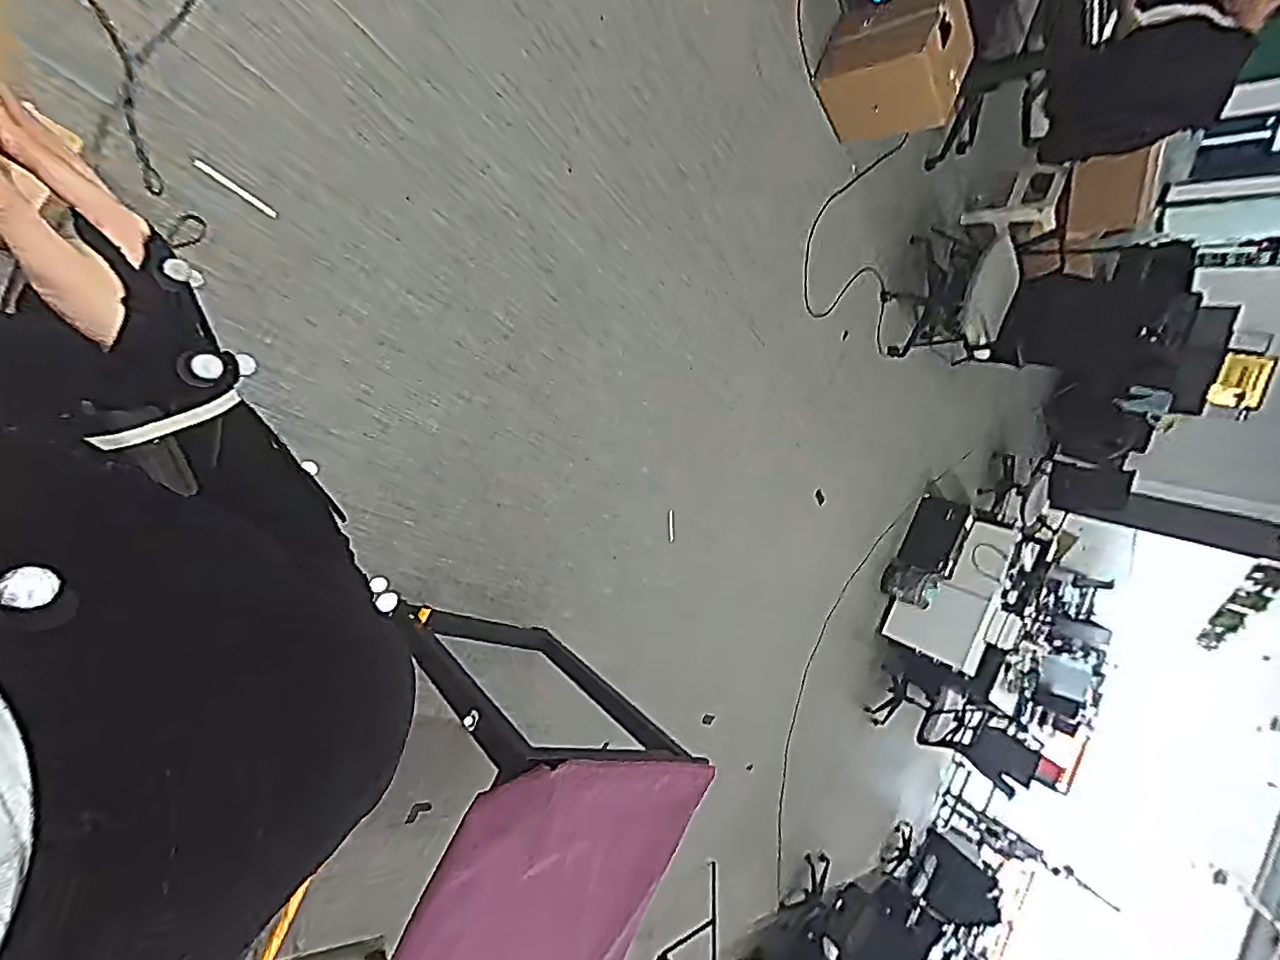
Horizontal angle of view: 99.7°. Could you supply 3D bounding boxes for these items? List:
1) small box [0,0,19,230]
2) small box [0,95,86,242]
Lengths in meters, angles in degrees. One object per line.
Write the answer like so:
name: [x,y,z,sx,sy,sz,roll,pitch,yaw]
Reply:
small box: [-0.401,-0.223,0.231,0.168,0.176,0.179,-1,104,-44]
small box: [-0.946,-0.470,0.773,0.168,0.176,0.179,34,81,-43]
